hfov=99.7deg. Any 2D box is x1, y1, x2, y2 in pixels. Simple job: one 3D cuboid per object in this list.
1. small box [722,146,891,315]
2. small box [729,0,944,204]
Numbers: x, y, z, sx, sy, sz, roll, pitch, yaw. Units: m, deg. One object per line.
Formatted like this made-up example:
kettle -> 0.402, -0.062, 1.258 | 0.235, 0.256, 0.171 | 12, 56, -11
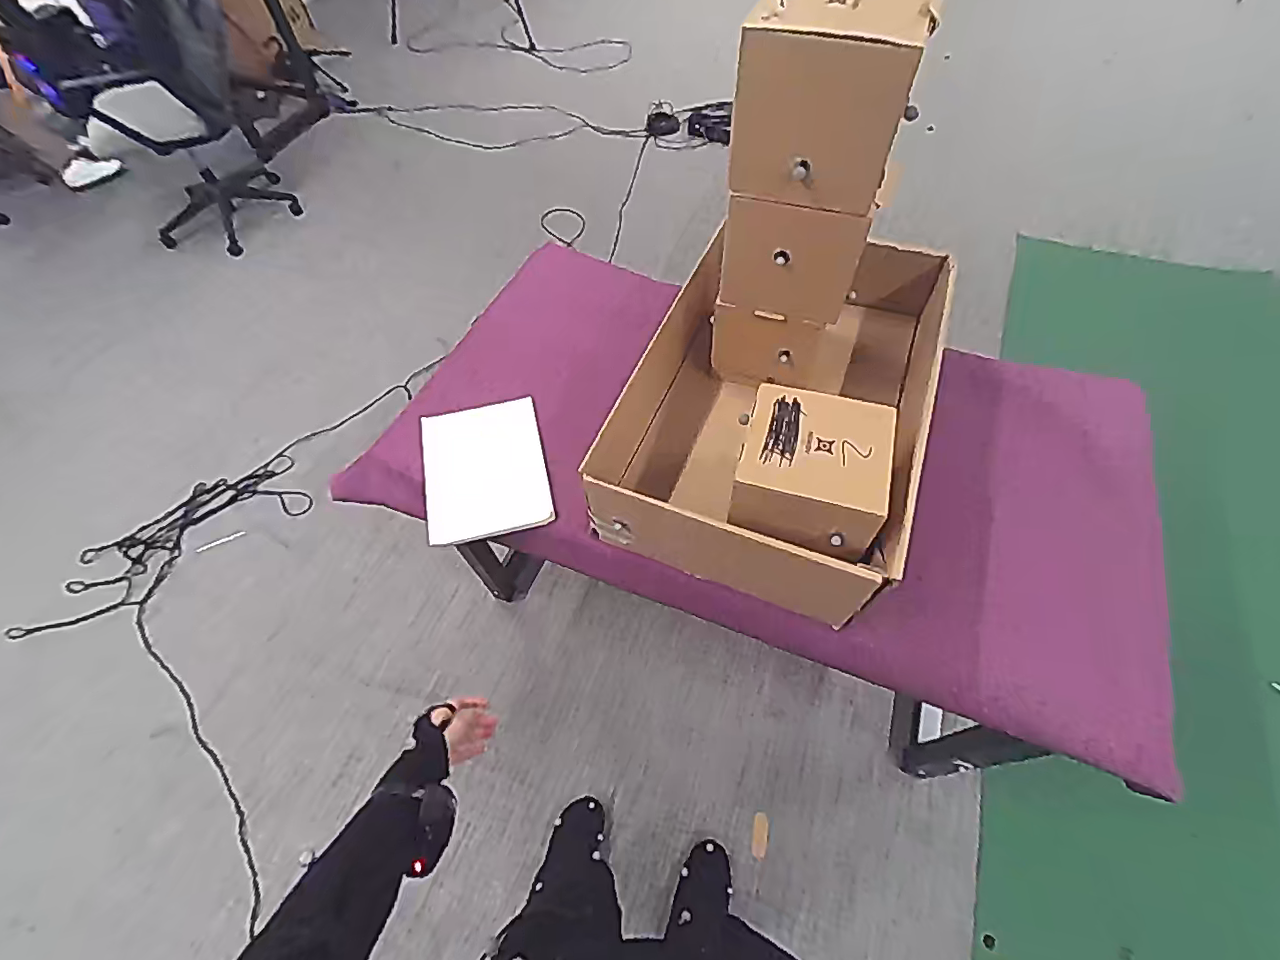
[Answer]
small box -> 0.223, -0.357, 0.753 | 0.179, 0.176, 0.168 | 16, 61, 13
small box -> 0.214, -0.446, 0.615 | 0.179, 0.176, 0.168 | 19, 61, 13
